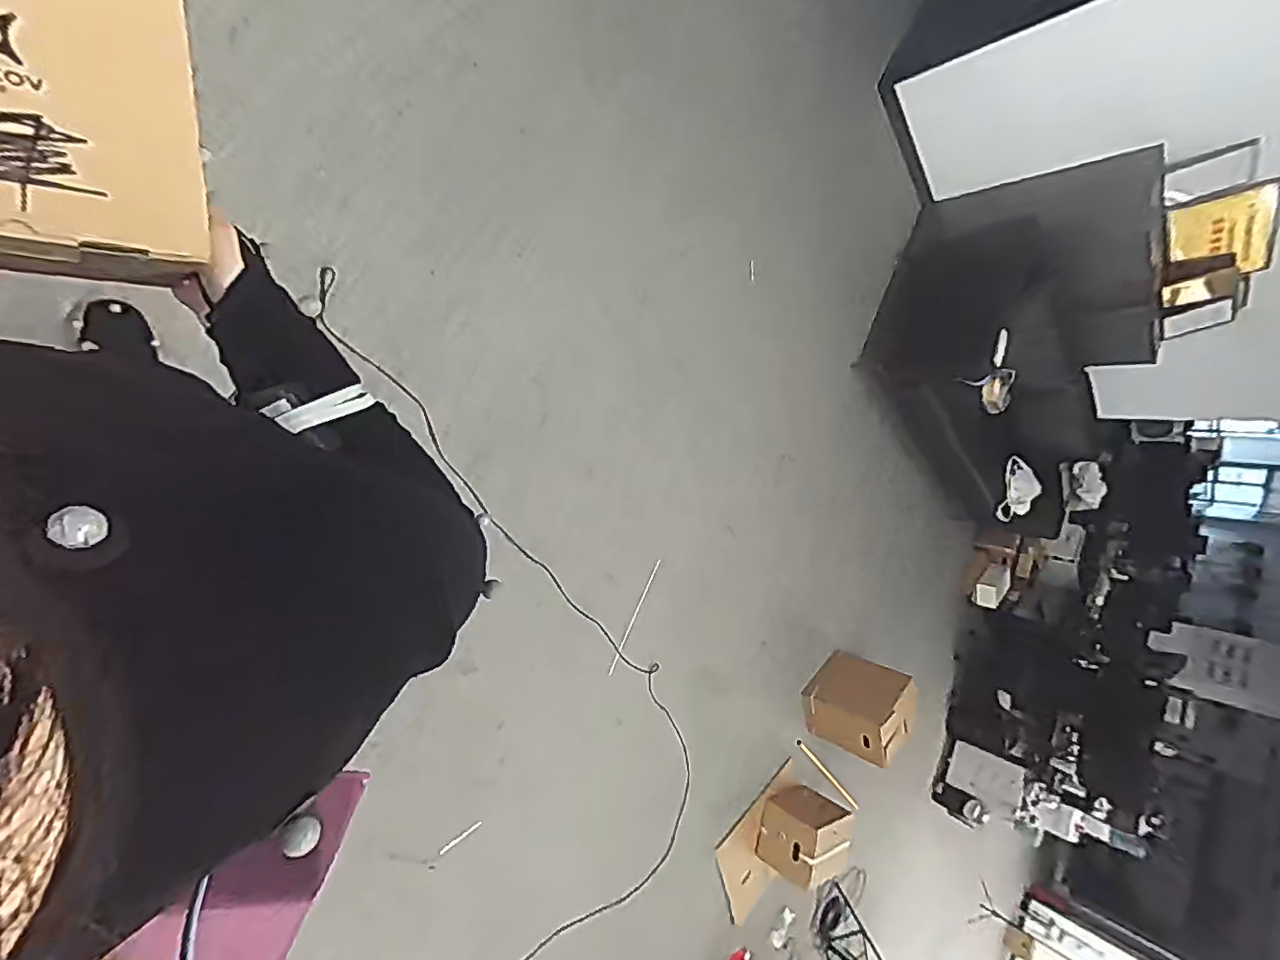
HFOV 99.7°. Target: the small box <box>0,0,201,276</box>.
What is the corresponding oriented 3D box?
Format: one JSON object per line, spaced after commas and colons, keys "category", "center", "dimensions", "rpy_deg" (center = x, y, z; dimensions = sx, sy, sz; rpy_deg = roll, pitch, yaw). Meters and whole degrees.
{"category": "small box", "center": [-0.382, -0.227, 0.317], "dimensions": [0.168, 0.176, 0.179], "rpy_deg": [-10, 105, -46]}
